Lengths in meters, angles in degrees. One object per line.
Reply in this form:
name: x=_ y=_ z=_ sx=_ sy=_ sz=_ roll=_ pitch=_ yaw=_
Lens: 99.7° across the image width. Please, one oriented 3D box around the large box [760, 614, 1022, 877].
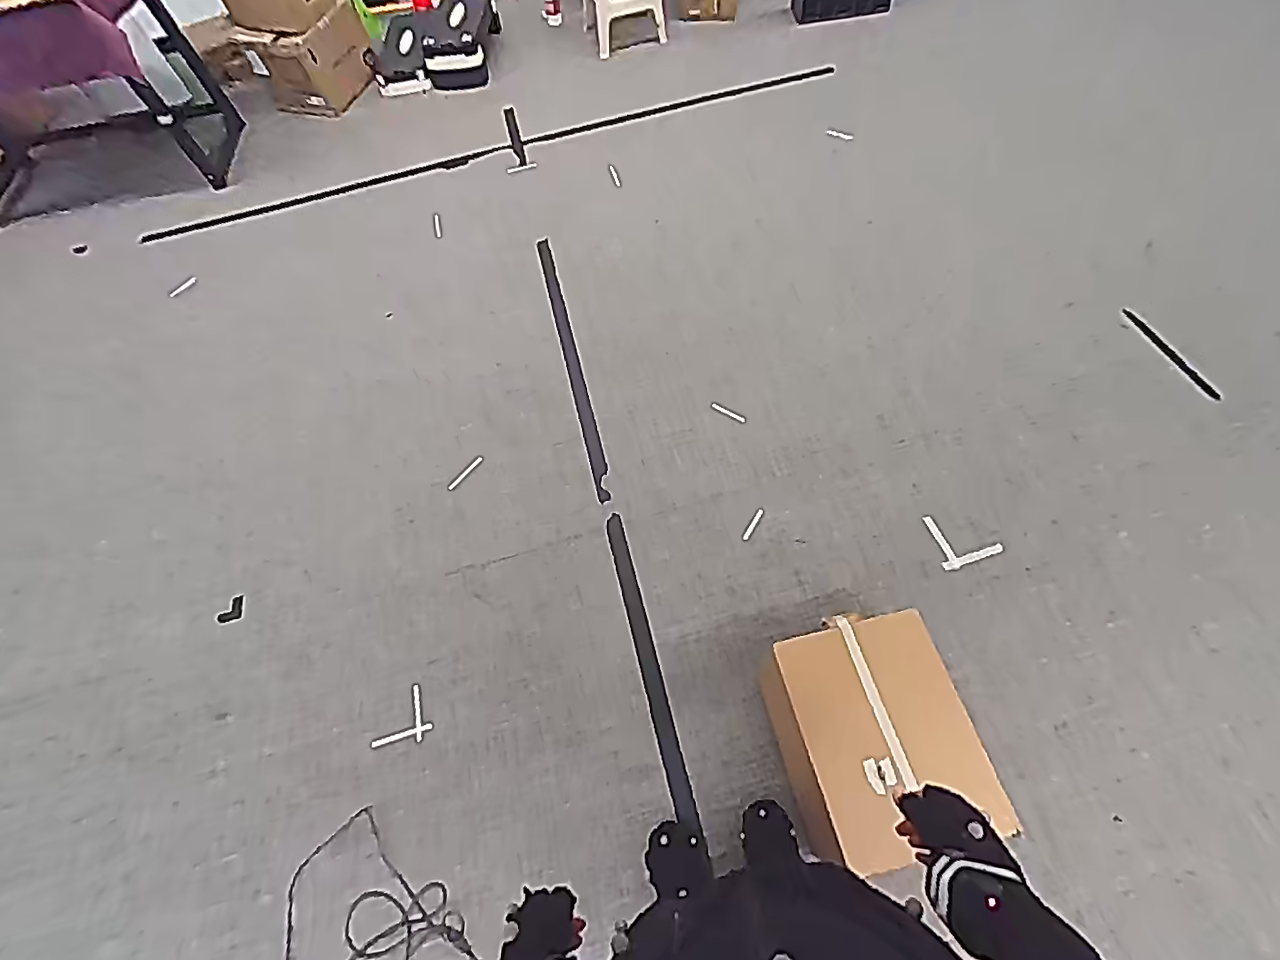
large box: x=0.484 y=0.548 z=1.158 sx=0.320 sy=0.320 sz=0.408 roll=-13 pitch=62 yaw=-2
